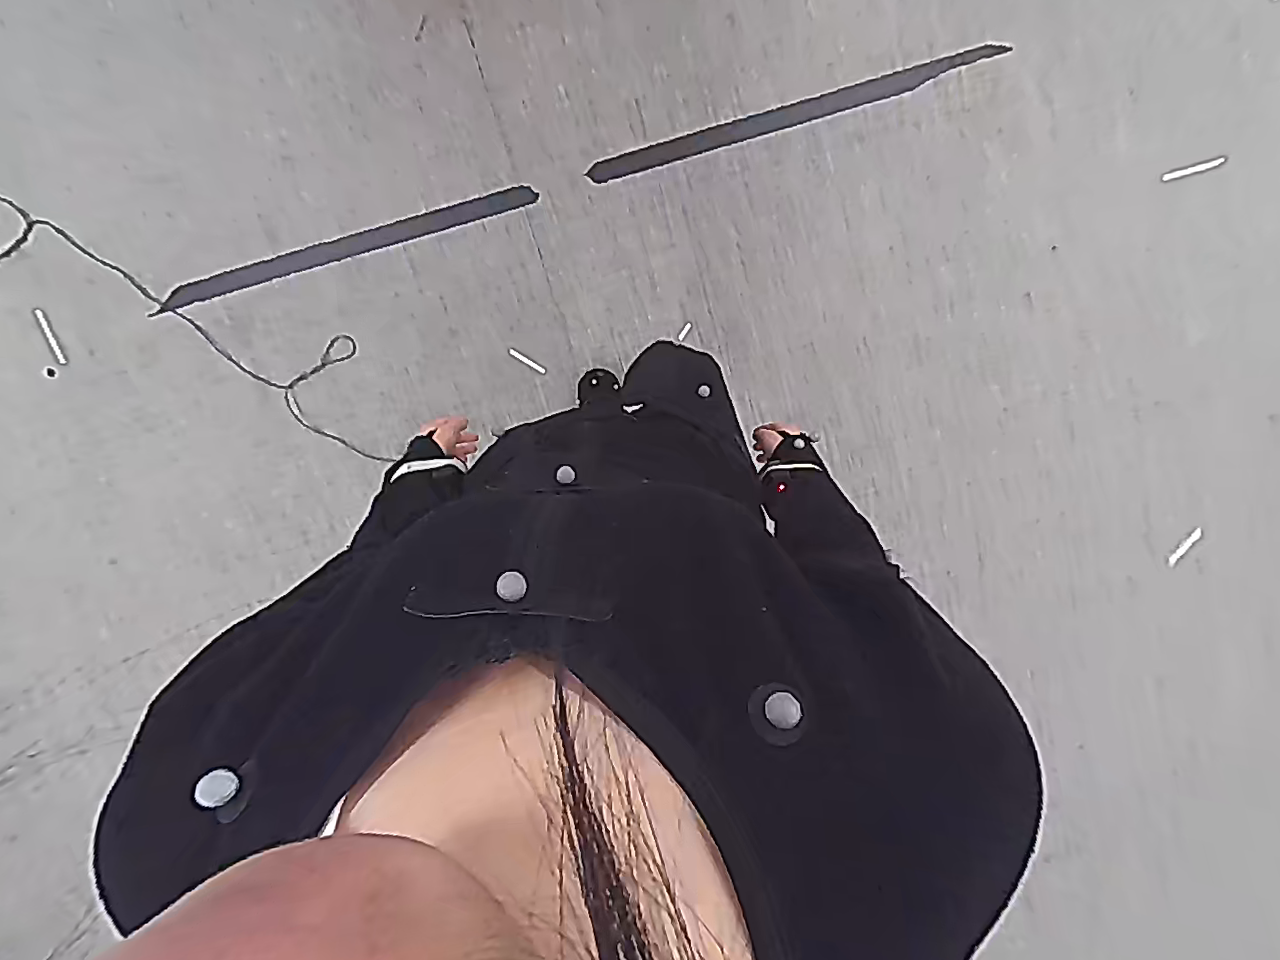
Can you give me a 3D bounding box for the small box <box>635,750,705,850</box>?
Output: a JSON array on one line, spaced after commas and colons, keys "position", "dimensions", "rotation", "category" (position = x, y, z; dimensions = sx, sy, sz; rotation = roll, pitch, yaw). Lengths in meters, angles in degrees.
[{"position": [0.088, 0.954, 1.622], "dimensions": [0.168, 0.176, 0.179], "rotation": [-17, 103, 3], "category": "small box"}]
